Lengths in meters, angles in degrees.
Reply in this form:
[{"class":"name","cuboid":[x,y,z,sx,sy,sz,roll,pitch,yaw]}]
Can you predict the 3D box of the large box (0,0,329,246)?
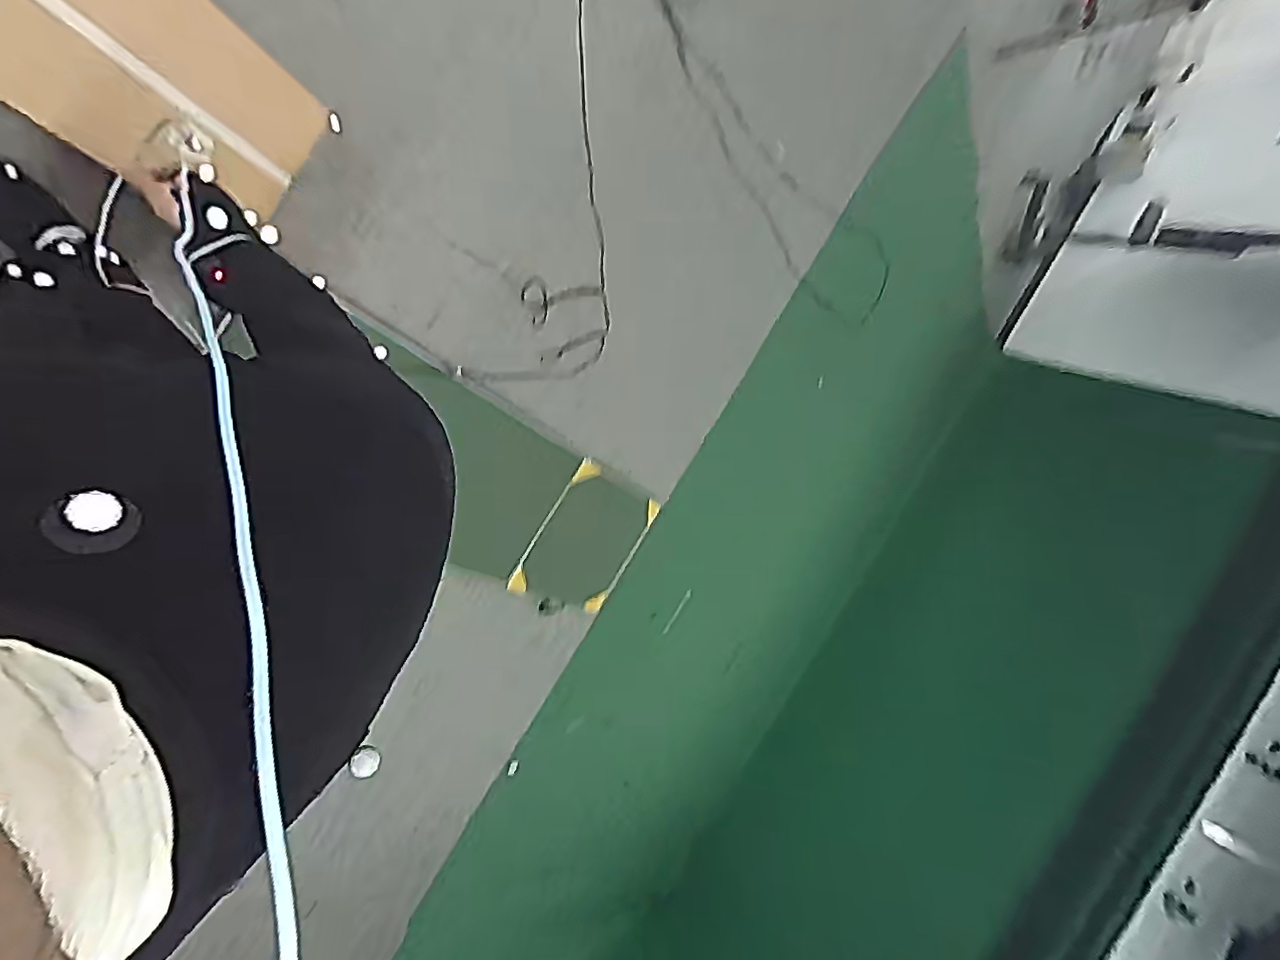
[{"class":"large box","cuboid":[-0.869,-0.687,0.954,0.320,0.320,0.408,-59,142,-2]}]
